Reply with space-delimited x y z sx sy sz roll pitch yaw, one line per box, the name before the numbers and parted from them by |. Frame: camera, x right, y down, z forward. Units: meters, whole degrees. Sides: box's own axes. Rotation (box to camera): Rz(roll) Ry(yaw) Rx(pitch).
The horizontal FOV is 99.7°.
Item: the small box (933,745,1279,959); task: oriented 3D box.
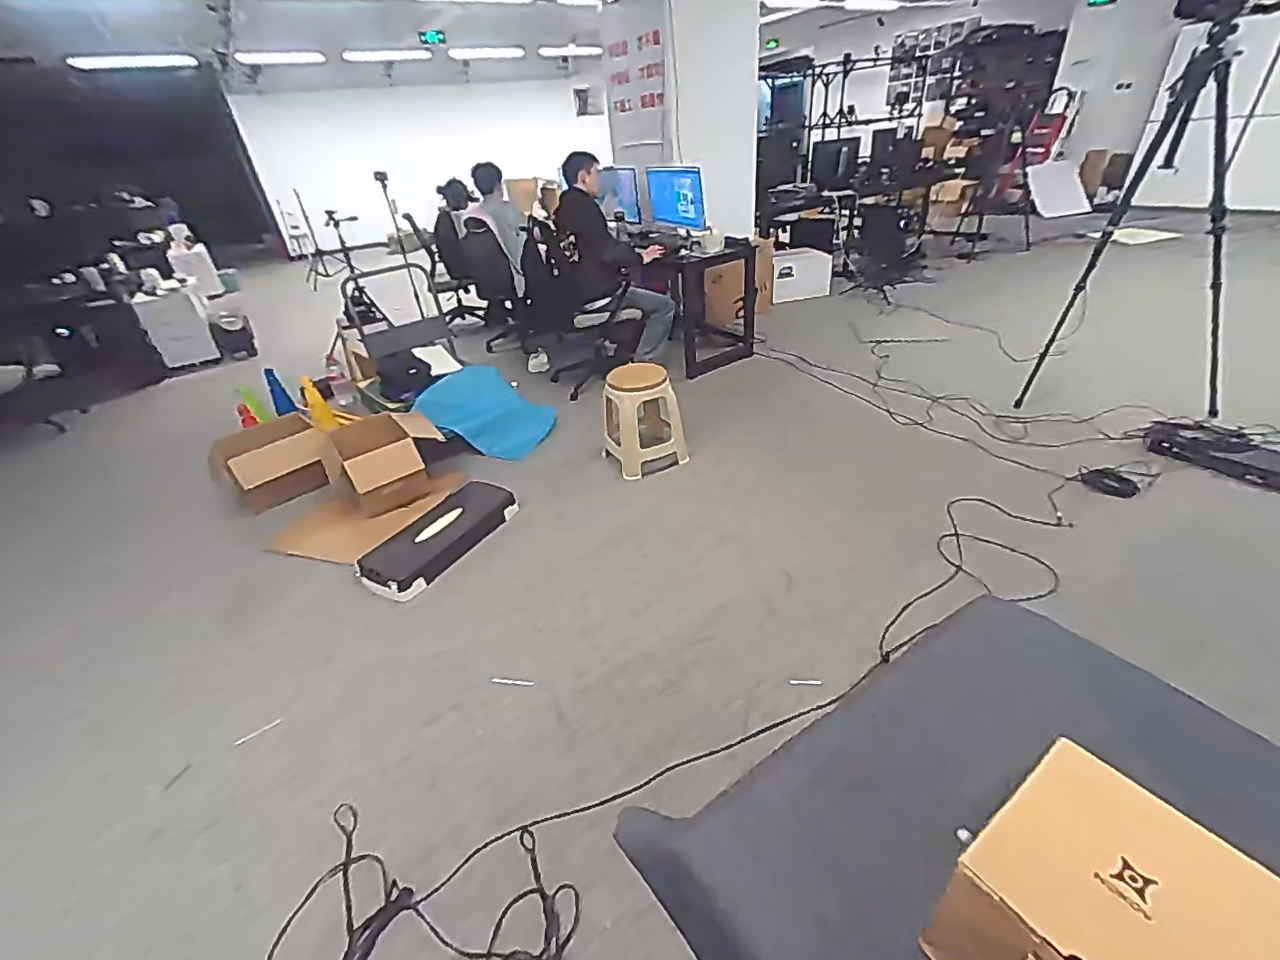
small box | 0.374 0.372 0.446 0.179 0.176 0.168 -24 37 -26
